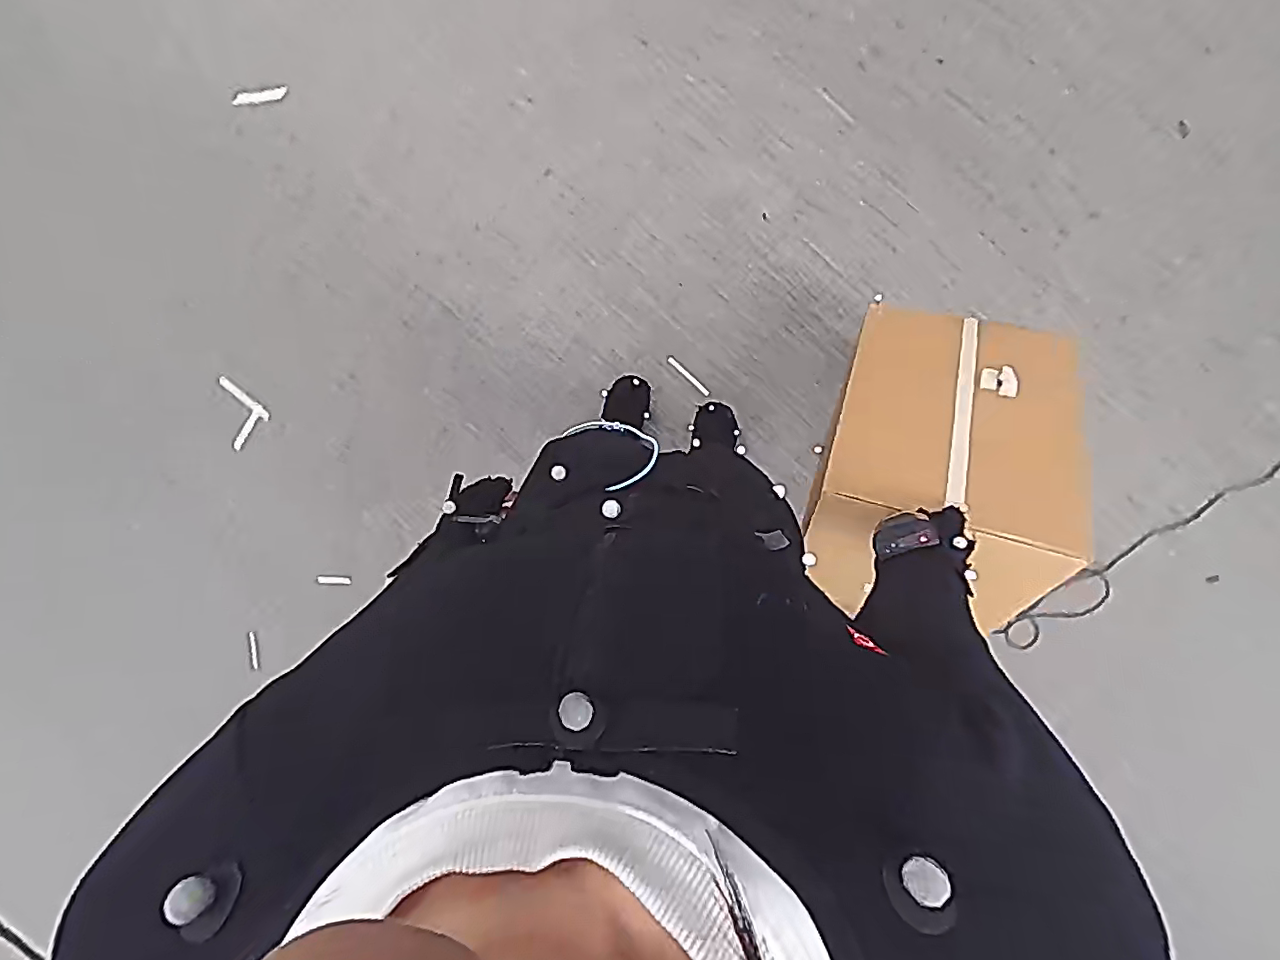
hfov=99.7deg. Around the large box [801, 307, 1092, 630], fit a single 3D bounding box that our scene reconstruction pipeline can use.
[{"bbox_3d":[0.478,-0.022,0.907,0.320,0.320,0.408,15,58,15],"label":"large box"}]
